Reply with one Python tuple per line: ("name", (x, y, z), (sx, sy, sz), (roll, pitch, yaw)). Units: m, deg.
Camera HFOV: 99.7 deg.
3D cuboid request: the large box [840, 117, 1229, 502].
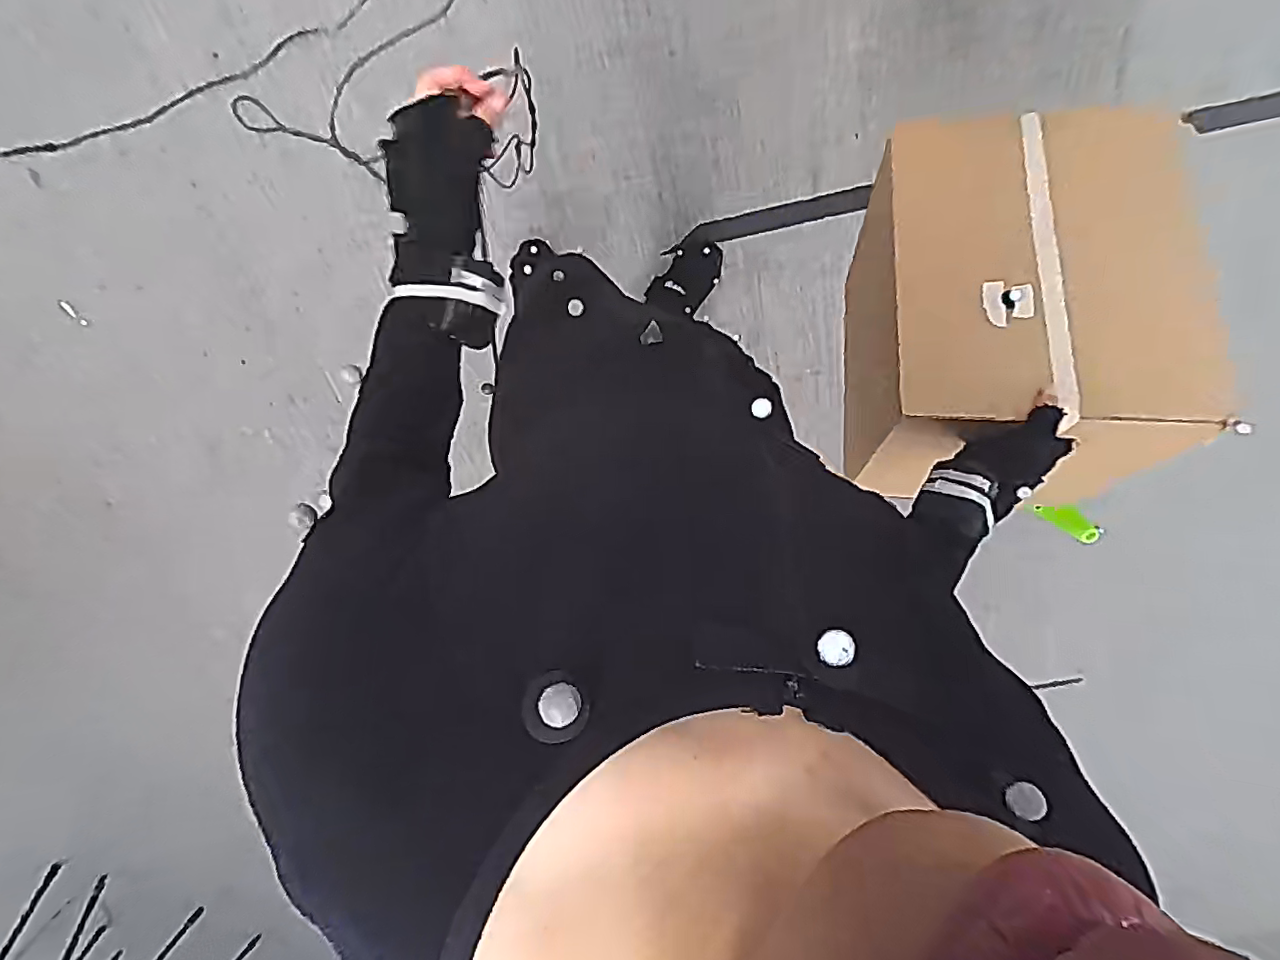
("large box", (0.470, -0.205, 0.750), (0.320, 0.408, 0.320), (3, 164, 11))
